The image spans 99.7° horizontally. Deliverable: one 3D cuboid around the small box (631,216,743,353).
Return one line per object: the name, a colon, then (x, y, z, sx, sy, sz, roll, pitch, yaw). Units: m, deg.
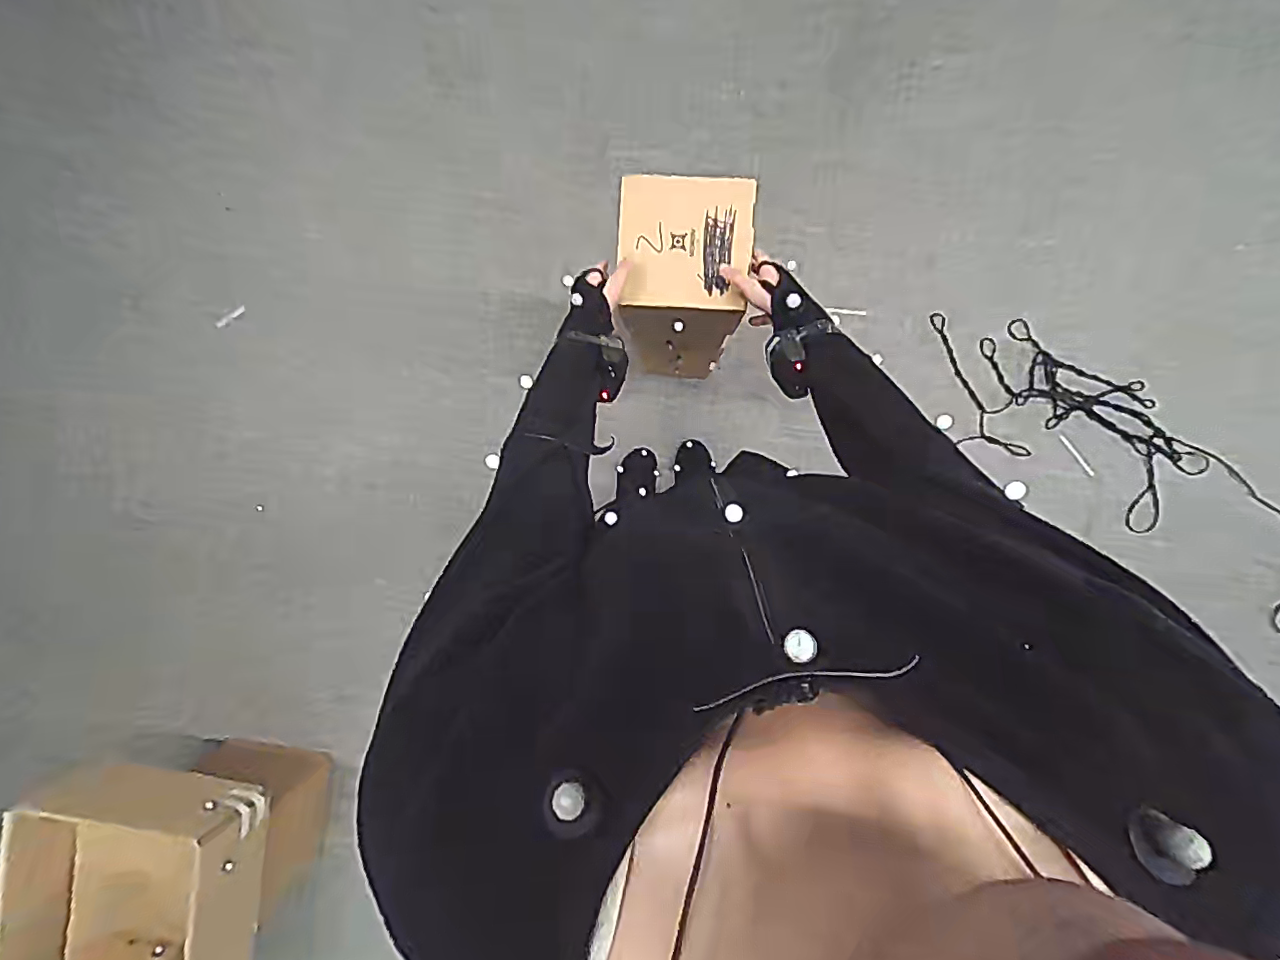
small box: (0.078, -0.328, 0.933, 0.168, 0.176, 0.179, 5, 93, 4)

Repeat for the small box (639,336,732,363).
small box: (0.095, -0.336, 1.095, 0.179, 0.176, 0.168, 5, 92, 3)

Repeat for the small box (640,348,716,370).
small box: (0.102, -0.356, 1.258, 0.179, 0.176, 0.168, 7, 93, 3)

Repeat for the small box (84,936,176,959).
small box: (-1.086, 1.081, 1.091, 0.168, 0.176, 0.179, 10, 92, 2)

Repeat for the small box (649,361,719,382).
small box: (0.121, -0.359, 1.421, 0.179, 0.176, 0.168, 7, 92, 3)
